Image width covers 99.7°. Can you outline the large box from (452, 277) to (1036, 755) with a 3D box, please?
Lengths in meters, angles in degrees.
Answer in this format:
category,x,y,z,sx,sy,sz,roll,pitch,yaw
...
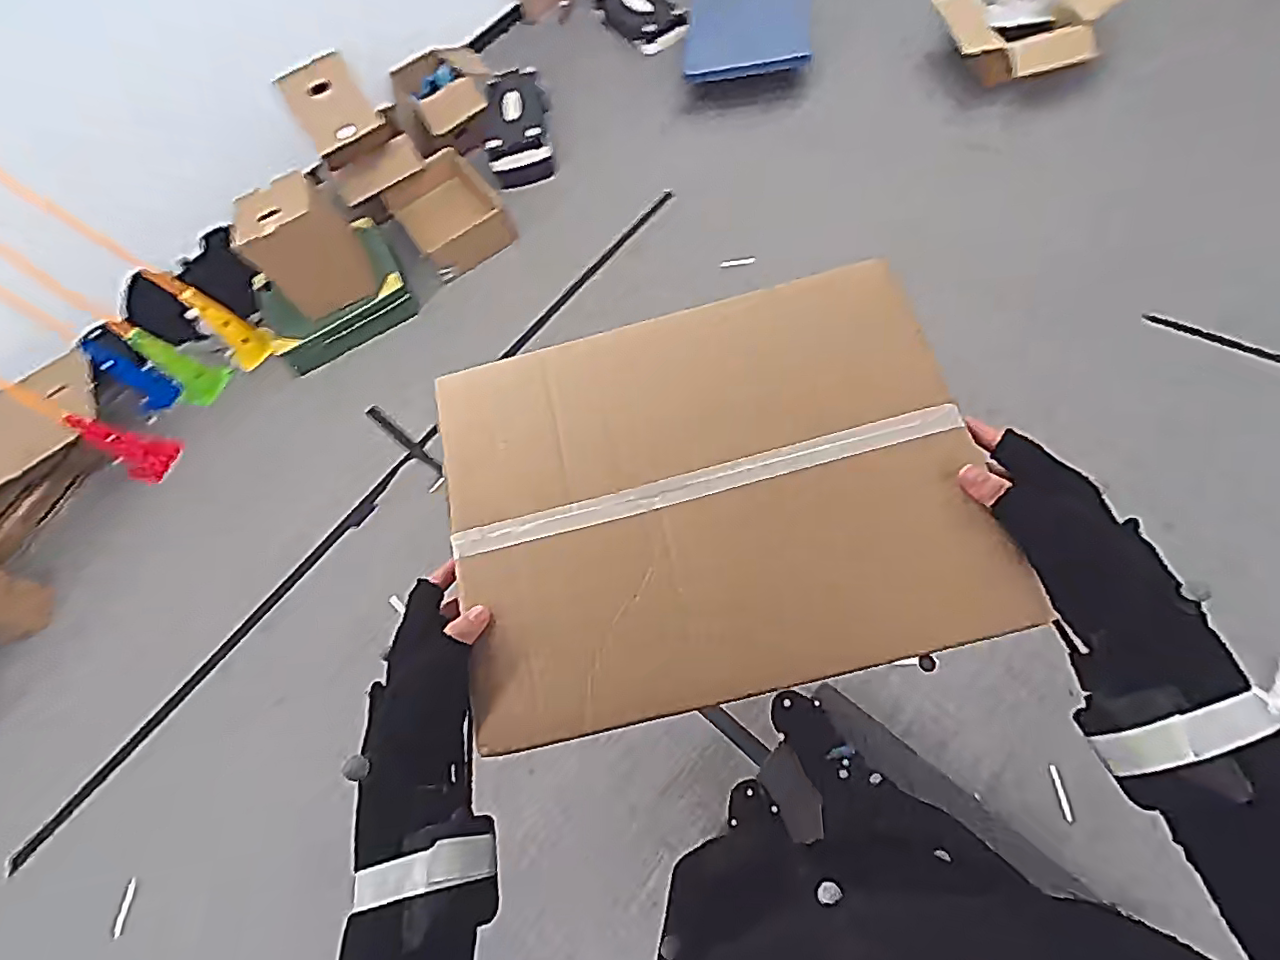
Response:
category,x,y,z,sx,sy,sz,roll,pitch,yaw
large box,0.073,0.054,0.571,0.408,0.320,0.320,-14,70,2

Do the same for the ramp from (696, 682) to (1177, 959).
category,x,y,z,sx,sy,sz,roll,pitch,yaw
ramp,0.655,0.942,1.138,0.991,0.206,0.509,33,74,23
